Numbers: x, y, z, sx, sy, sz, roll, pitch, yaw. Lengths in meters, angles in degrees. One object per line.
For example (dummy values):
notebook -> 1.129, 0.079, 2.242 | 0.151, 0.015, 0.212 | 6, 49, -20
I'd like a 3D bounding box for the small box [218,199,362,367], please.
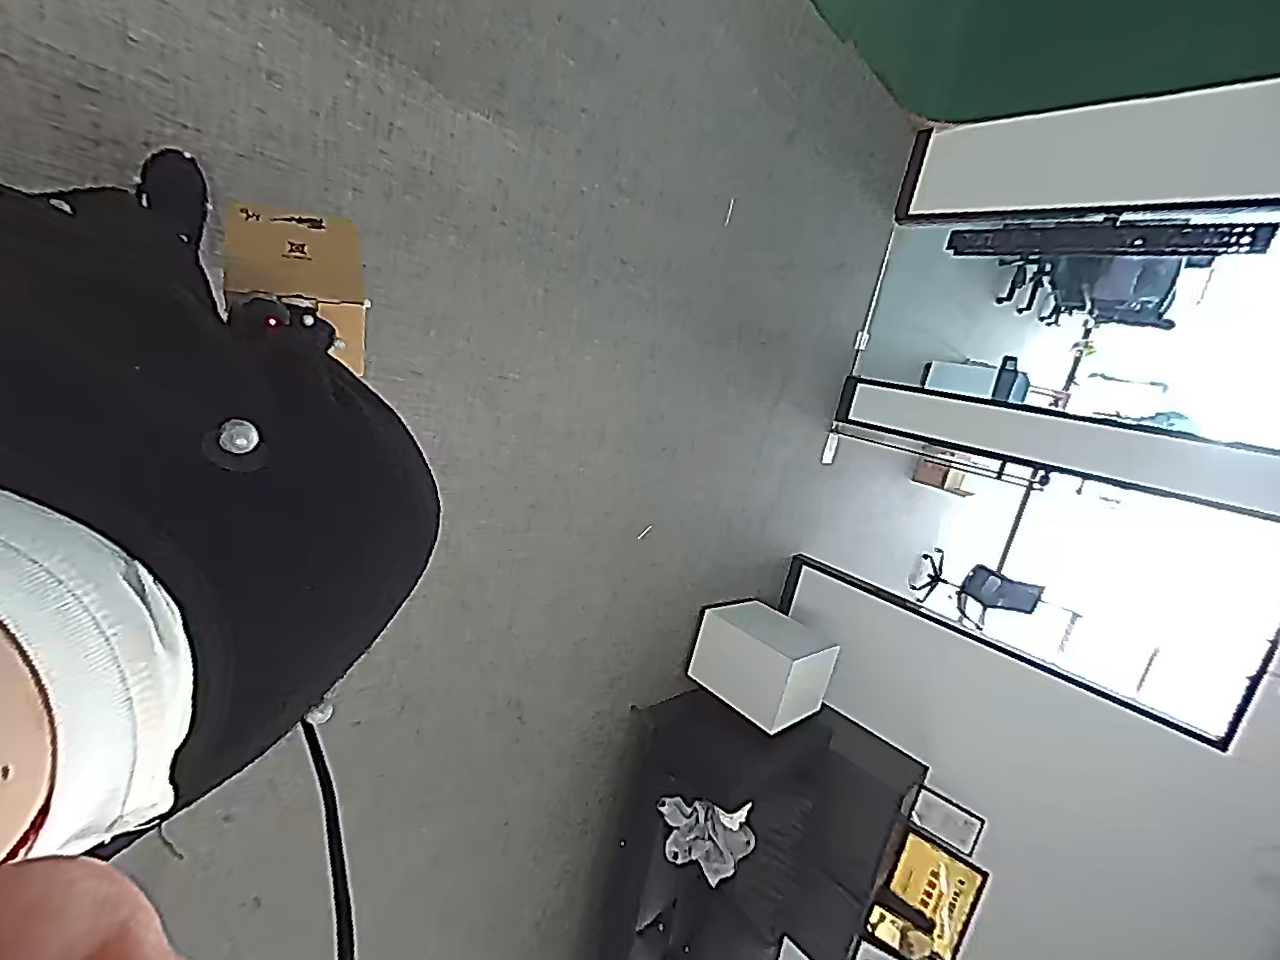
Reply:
small box -> -0.527, -0.289, 0.829 | 0.168, 0.179, 0.176 | -7, 156, -30
